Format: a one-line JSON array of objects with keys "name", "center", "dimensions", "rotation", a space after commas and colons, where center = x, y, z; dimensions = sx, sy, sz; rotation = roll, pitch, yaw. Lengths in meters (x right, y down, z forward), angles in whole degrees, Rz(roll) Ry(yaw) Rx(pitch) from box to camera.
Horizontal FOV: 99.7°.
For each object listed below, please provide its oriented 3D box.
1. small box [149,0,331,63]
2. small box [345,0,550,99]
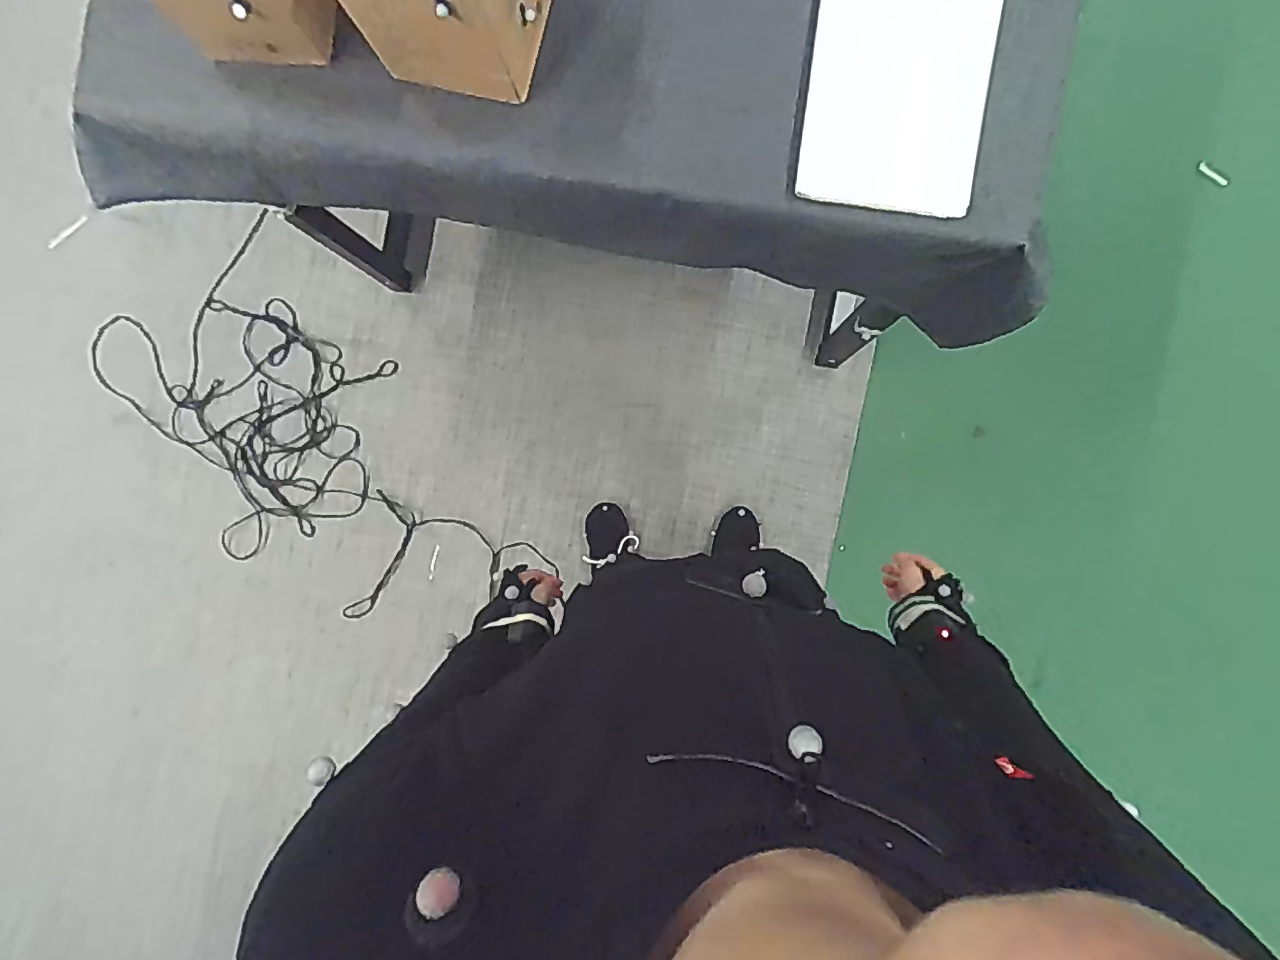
[{"name": "small box", "center": [-0.468, -0.613, 0.605], "dimensions": [0.168, 0.176, 0.179], "rotation": [6, 89, 3]}, {"name": "small box", "center": [-0.215, -0.558, 0.585], "dimensions": [0.179, 0.176, 0.168], "rotation": [15, 90, 4]}]
